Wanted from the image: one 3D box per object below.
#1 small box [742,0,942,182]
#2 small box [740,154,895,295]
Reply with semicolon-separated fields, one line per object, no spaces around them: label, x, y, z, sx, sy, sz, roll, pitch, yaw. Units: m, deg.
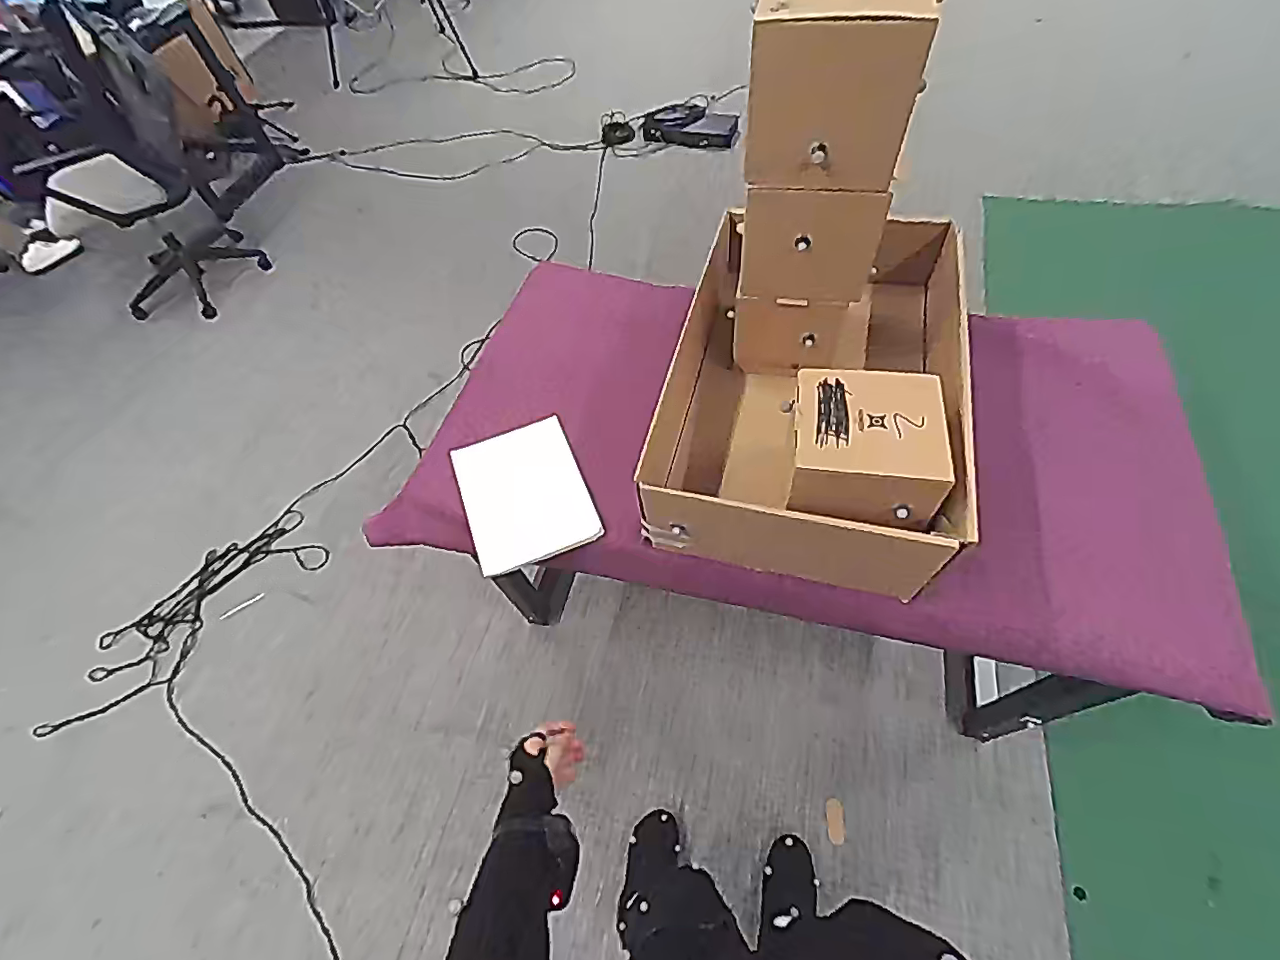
small box;0.223;-0.471;0.623;0.179;0.176;0.168;11;60;12
small box;0.241;-0.382;0.760;0.179;0.176;0.168;8;60;12
